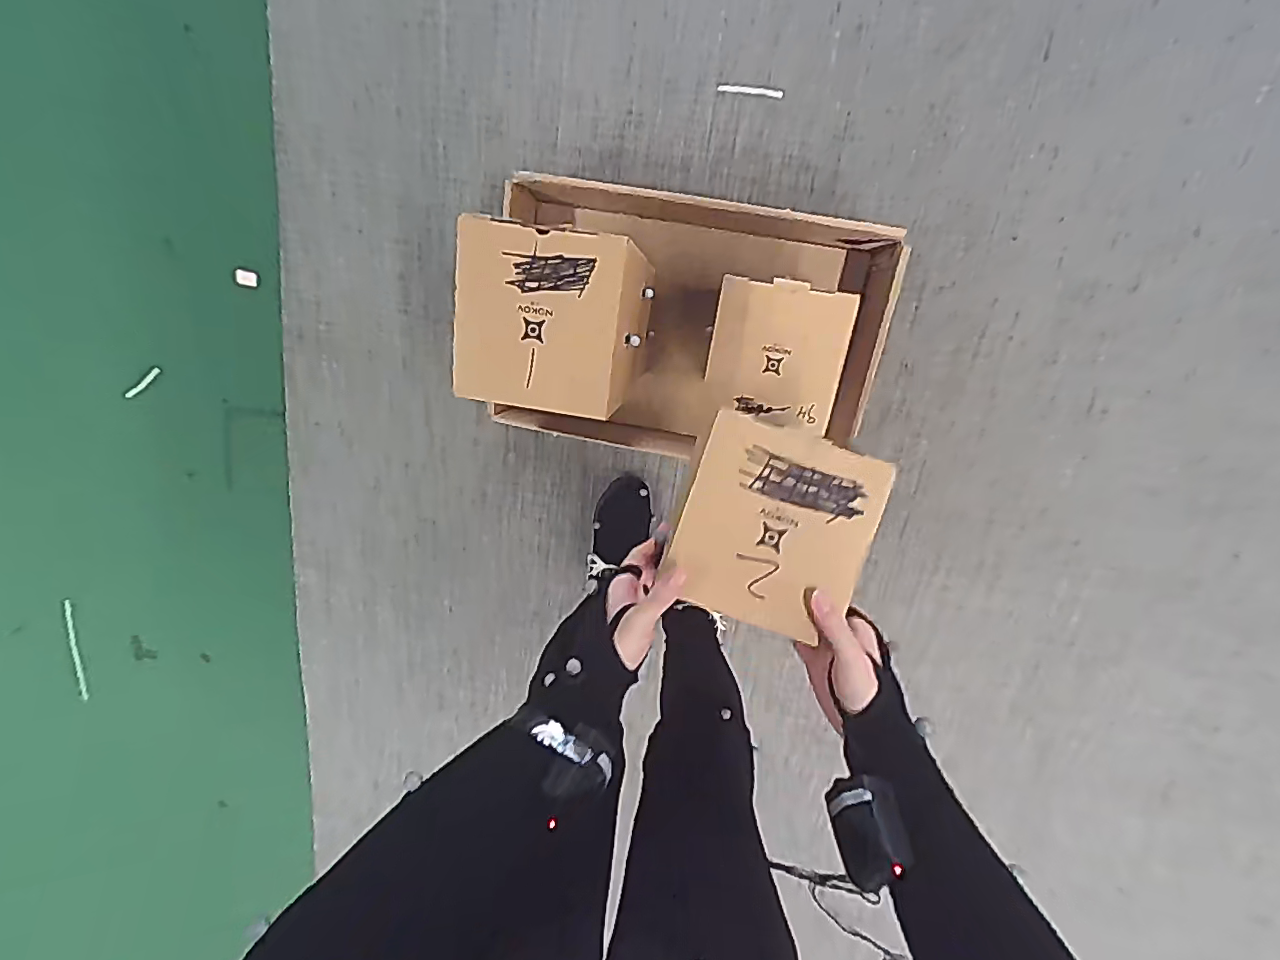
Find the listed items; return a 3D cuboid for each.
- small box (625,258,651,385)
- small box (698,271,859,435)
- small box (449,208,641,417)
[{"bbox_3d":[-0.081,-0.228,0.761,0.168,0.176,0.179,10,106,3],"label":"small box"},{"bbox_3d":[0.177,-0.175,0.745,0.168,0.176,0.179,11,106,6],"label":"small box"},{"bbox_3d":[-0.095,-0.181,0.604,0.168,0.176,0.179,10,107,3],"label":"small box"}]
